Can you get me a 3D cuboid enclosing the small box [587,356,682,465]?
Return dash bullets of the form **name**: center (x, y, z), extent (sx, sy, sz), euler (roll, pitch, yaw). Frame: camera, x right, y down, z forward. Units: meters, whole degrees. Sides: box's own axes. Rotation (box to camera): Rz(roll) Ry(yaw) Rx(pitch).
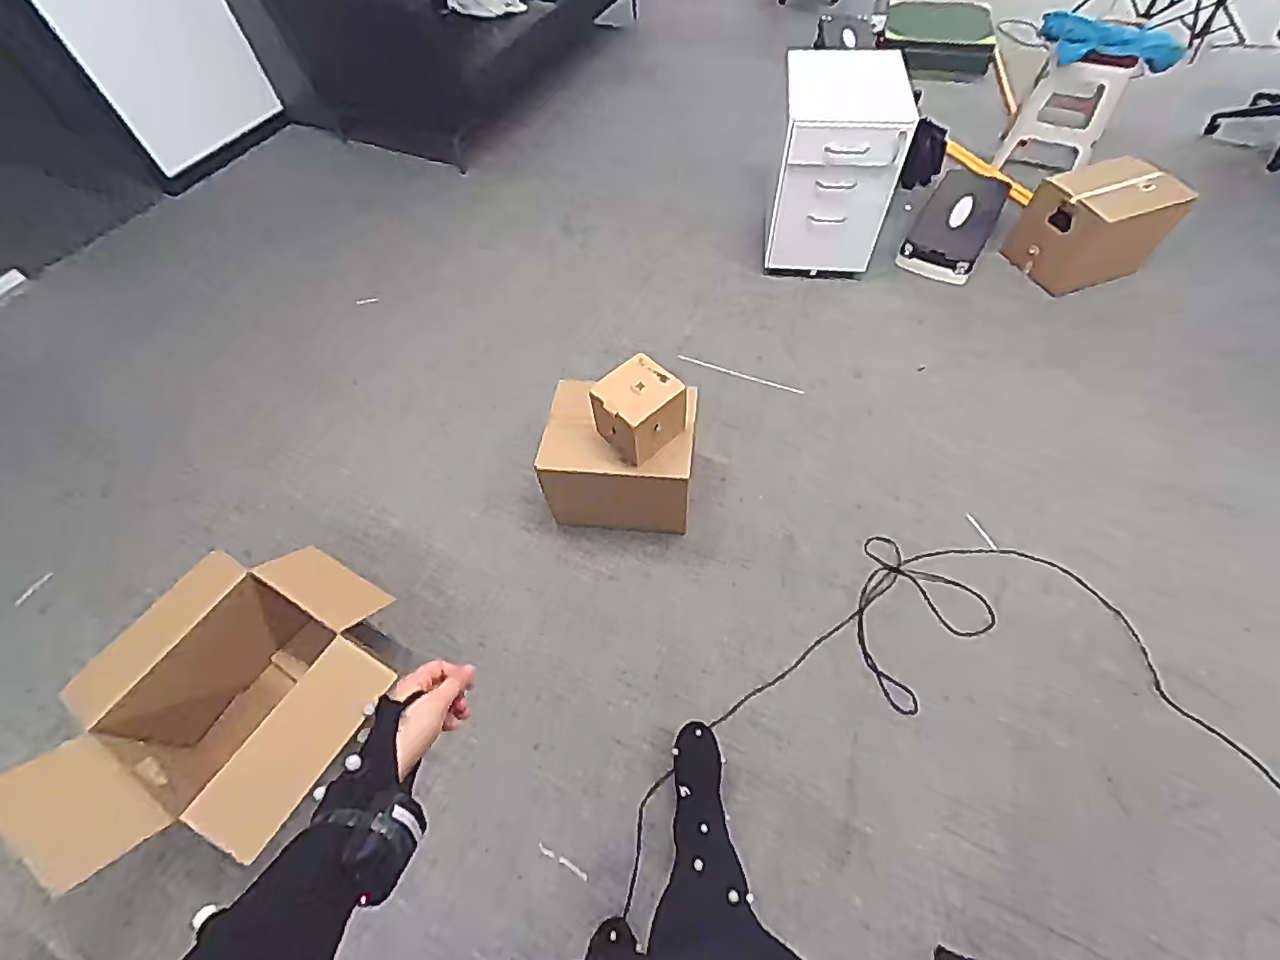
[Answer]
- **small box**: center (-0.006, -0.171, 1.371), extent (0.179, 0.176, 0.168), euler (-40, 64, -18)
